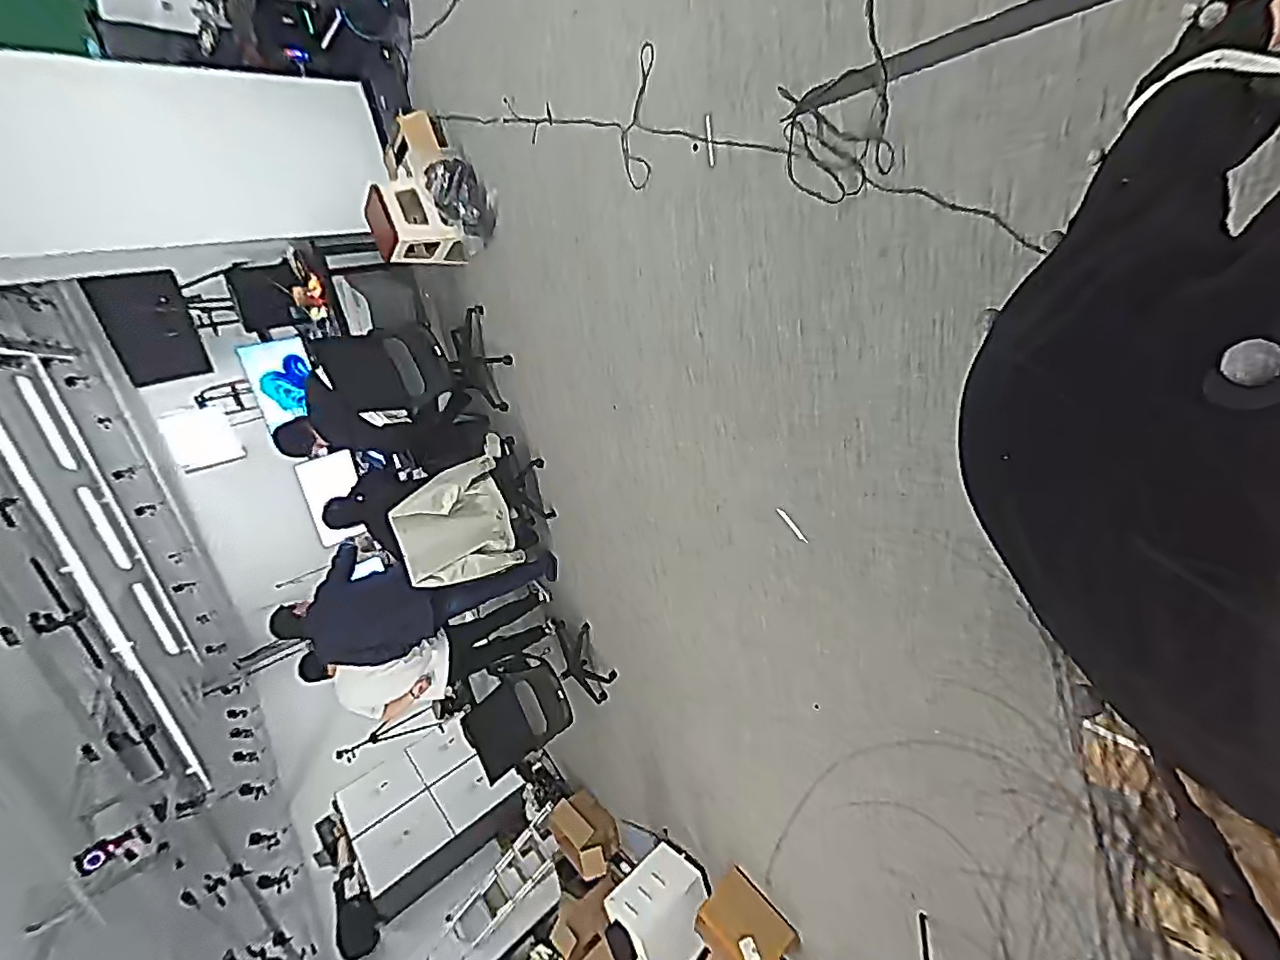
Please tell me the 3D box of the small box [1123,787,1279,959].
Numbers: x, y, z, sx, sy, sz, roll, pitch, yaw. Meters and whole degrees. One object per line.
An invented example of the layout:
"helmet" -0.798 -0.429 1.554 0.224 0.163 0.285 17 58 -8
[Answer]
"small box" 0.917 0.644 0.866 0.168 0.176 0.179 20 125 45
